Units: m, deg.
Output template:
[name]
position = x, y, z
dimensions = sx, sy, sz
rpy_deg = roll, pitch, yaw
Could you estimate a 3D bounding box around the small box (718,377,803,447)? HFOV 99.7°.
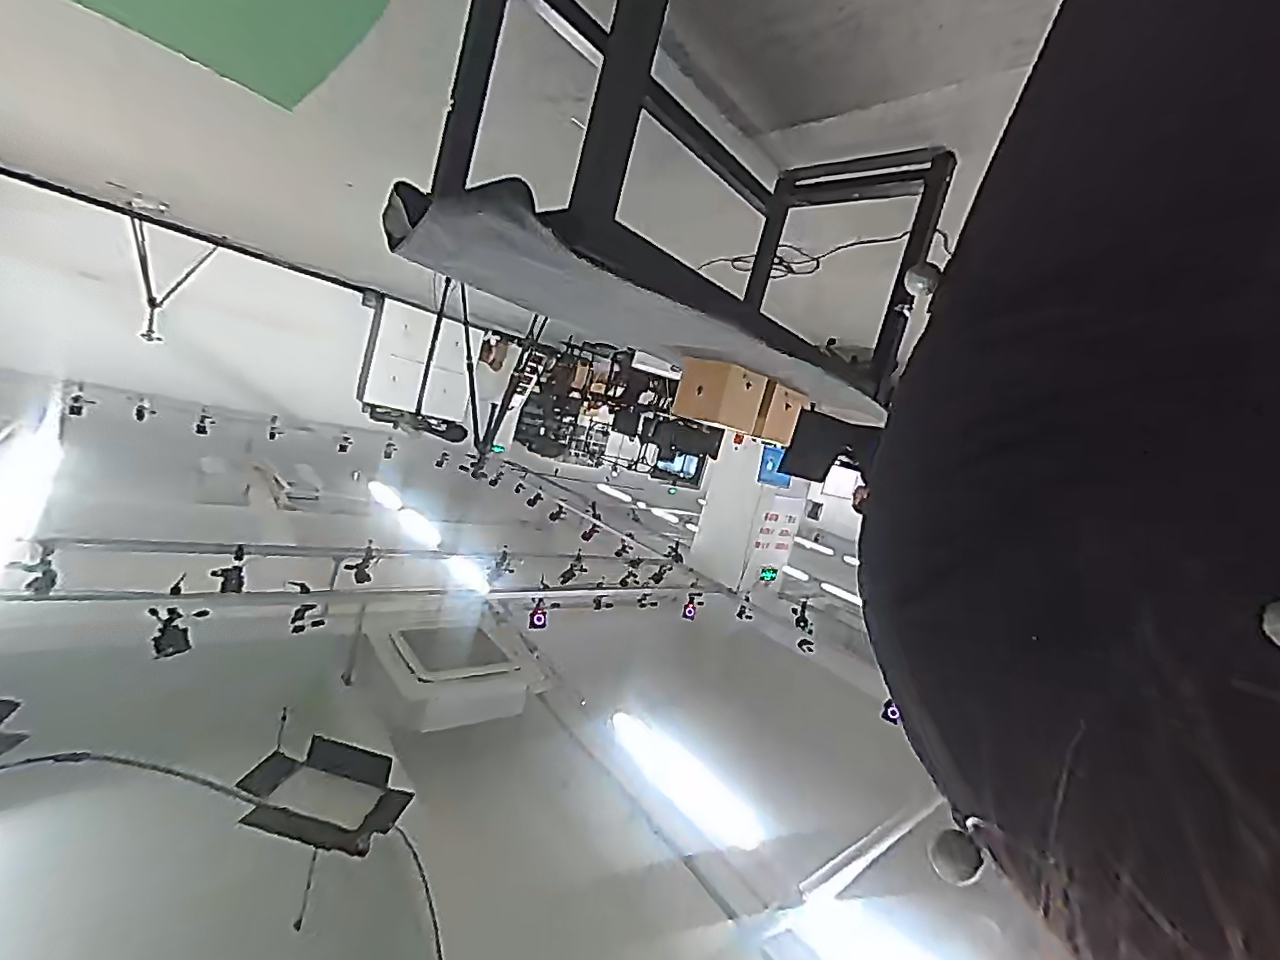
[small box]
position = 0.374, -0.213, 1.670
dimensions = 0.168, 0.176, 0.179
rpy_deg = 10, -172, -45
